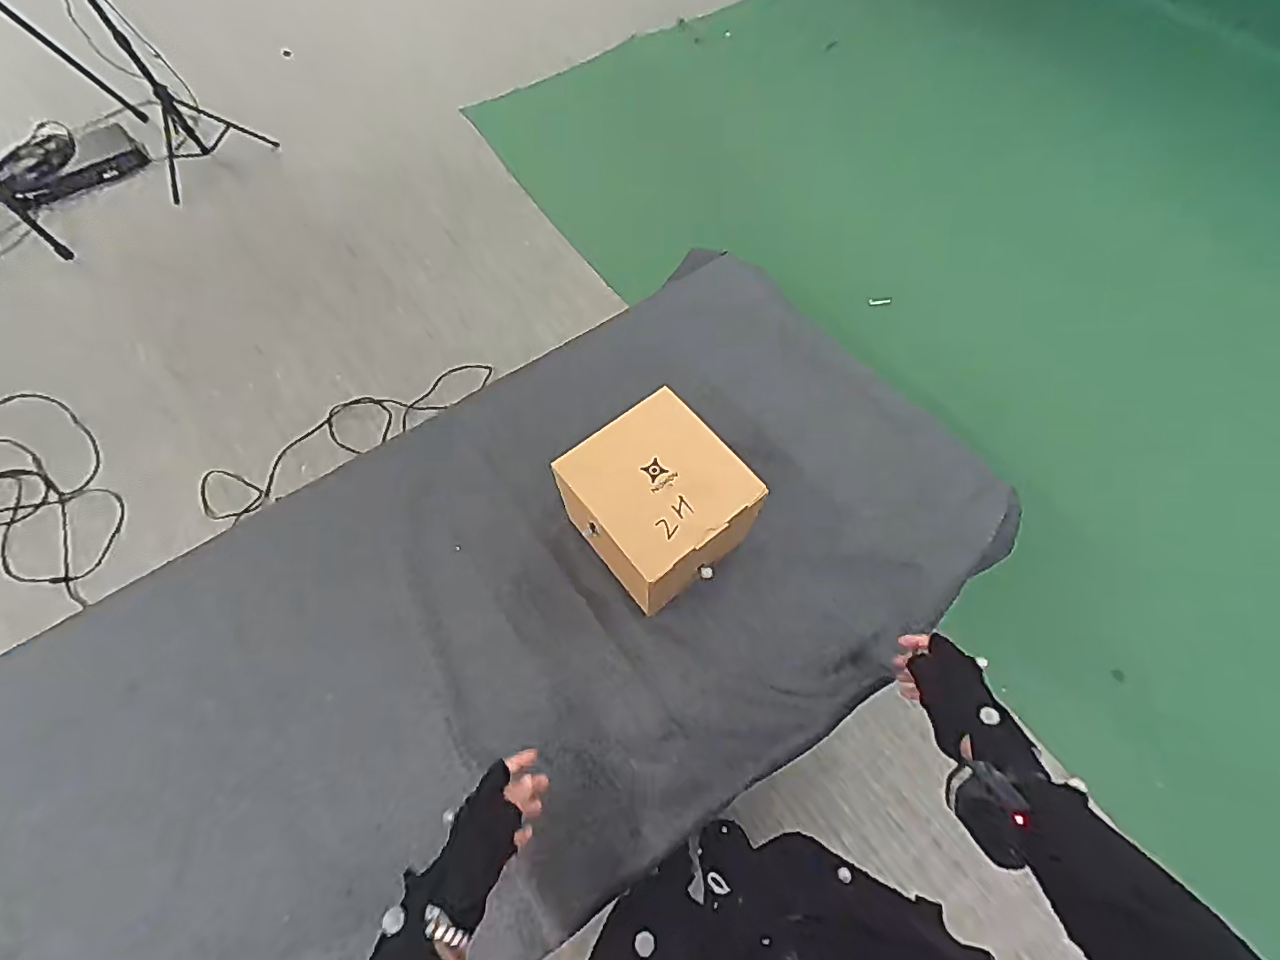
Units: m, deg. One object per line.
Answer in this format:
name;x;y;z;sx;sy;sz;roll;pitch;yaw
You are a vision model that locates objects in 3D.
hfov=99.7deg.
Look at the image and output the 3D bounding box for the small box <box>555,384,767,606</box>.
small box;0.021;0.026;0.654;0.168;0.176;0.179;-36;68;-14
